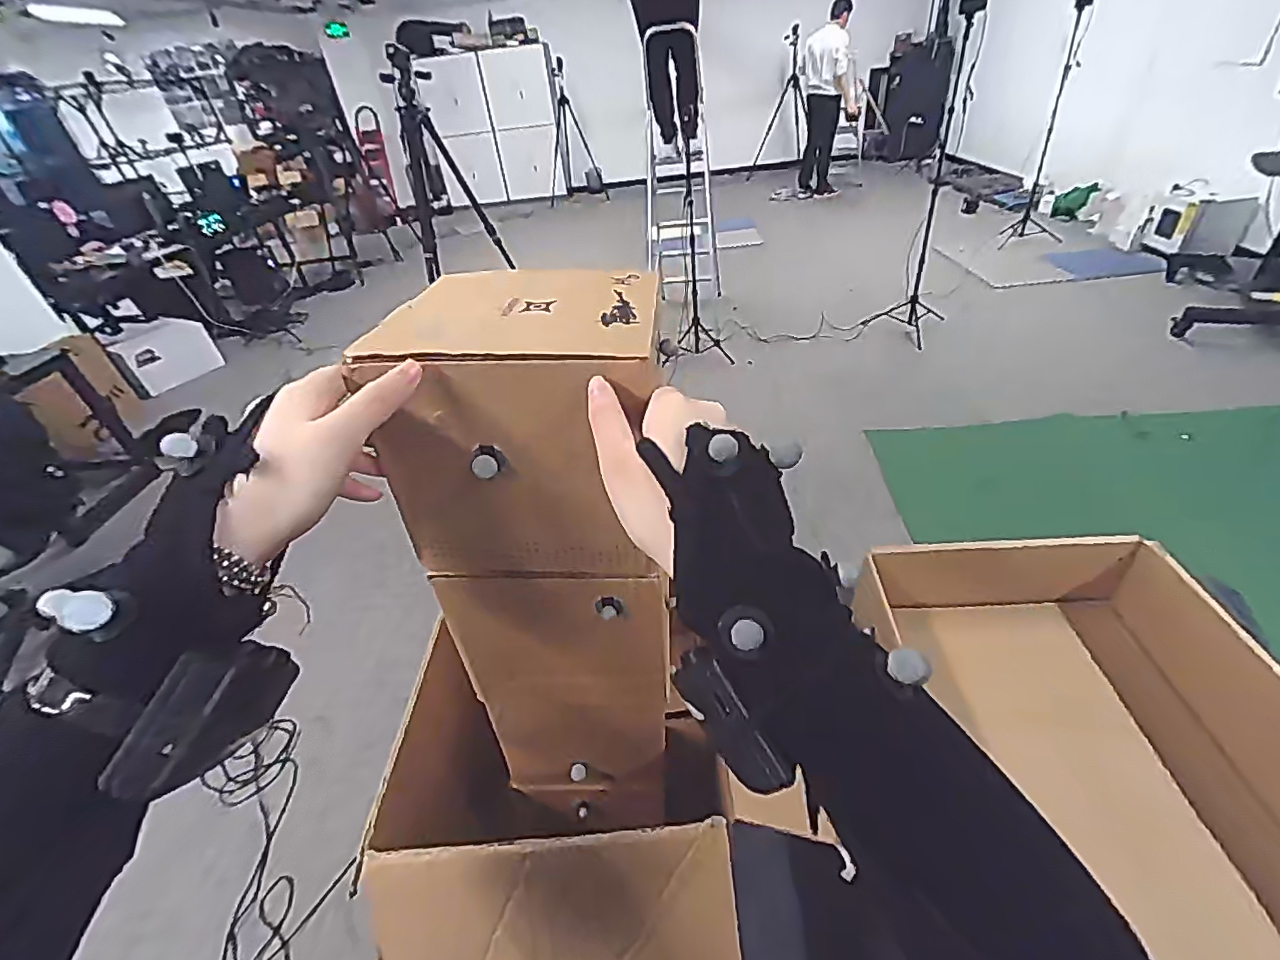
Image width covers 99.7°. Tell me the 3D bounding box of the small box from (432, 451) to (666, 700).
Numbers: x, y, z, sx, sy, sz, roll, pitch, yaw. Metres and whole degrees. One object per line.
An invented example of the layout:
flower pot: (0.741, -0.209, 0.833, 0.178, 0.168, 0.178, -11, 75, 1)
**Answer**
small box: (-0.064, 0.088, 0.509, 0.179, 0.176, 0.168, 0, 37, 2)
